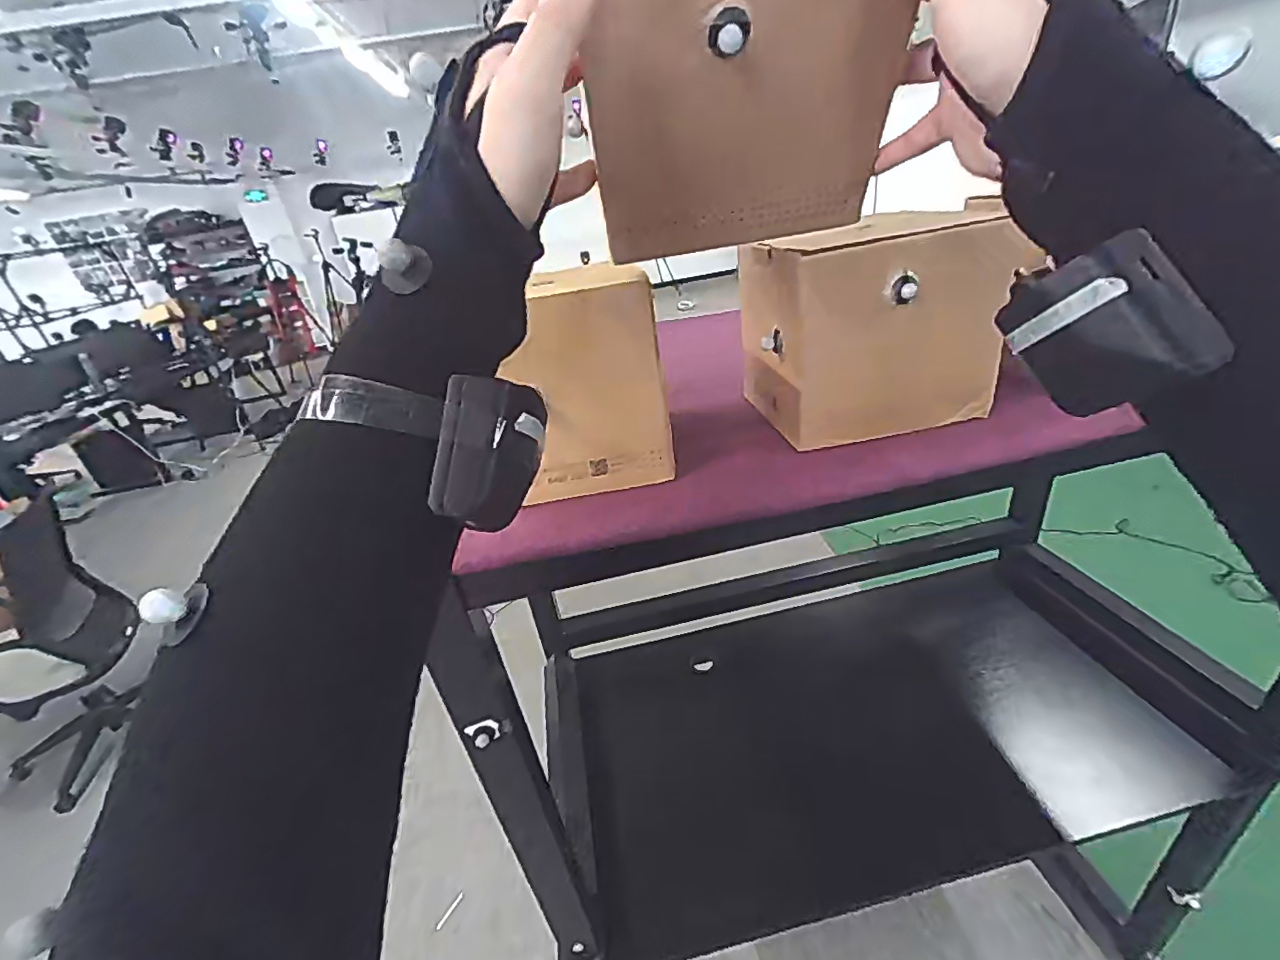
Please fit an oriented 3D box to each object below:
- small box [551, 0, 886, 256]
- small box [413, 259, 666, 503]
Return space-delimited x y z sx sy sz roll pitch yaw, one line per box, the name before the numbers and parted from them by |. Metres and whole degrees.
small box | 0.041 -0.270 0.349 0.179 0.176 0.168 -10 58 0
small box | -0.075 -0.089 0.488 0.168 0.176 0.179 -10 27 -1
